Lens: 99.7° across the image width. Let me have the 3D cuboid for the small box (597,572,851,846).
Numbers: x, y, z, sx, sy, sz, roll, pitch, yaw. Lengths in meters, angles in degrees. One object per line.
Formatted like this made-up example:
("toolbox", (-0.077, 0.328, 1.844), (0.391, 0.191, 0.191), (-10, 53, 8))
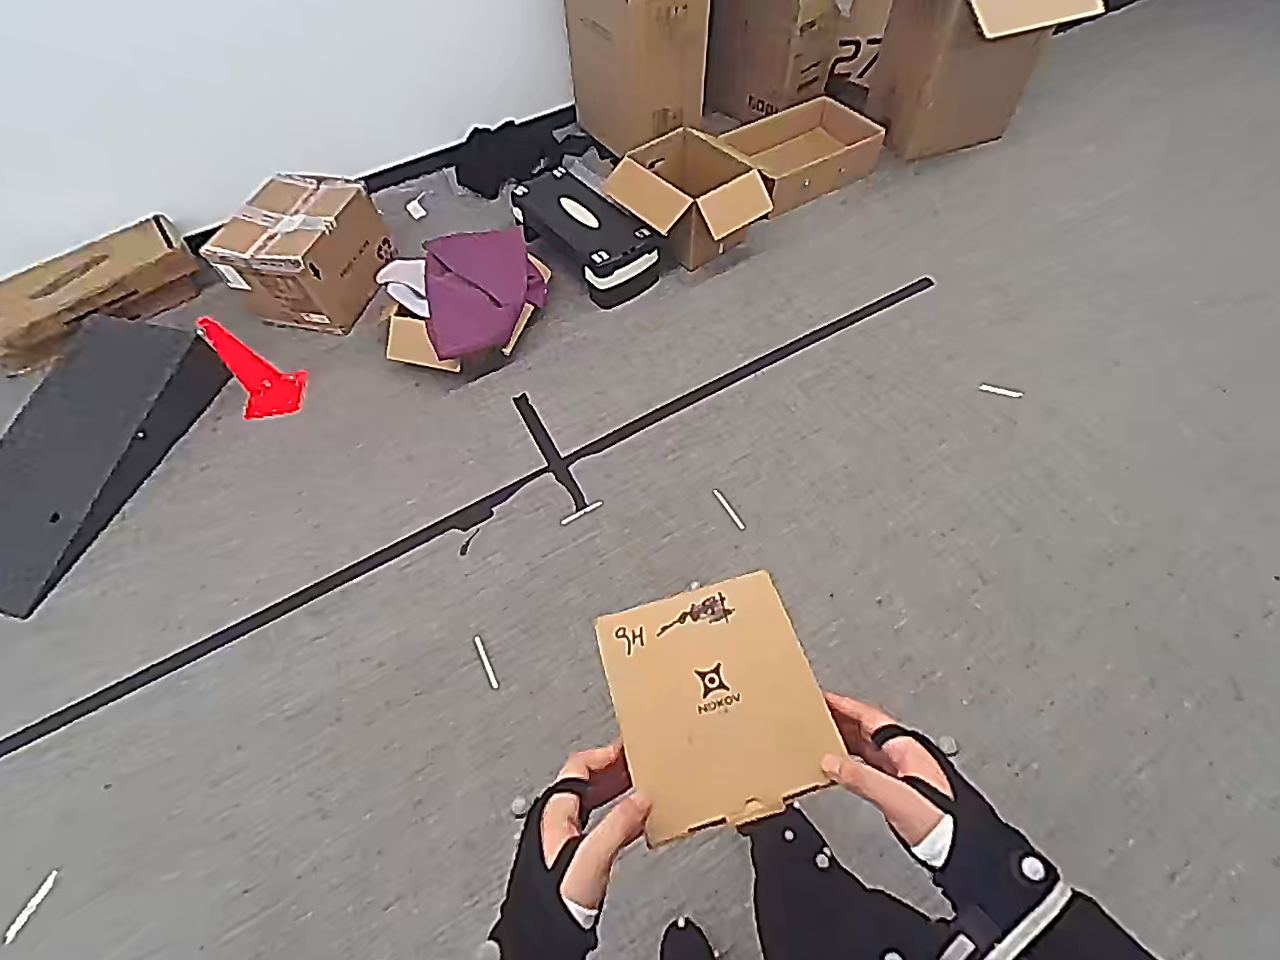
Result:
("small box", (0.066, 0.214, 0.511), (0.168, 0.176, 0.179), (-15, 60, -6))
